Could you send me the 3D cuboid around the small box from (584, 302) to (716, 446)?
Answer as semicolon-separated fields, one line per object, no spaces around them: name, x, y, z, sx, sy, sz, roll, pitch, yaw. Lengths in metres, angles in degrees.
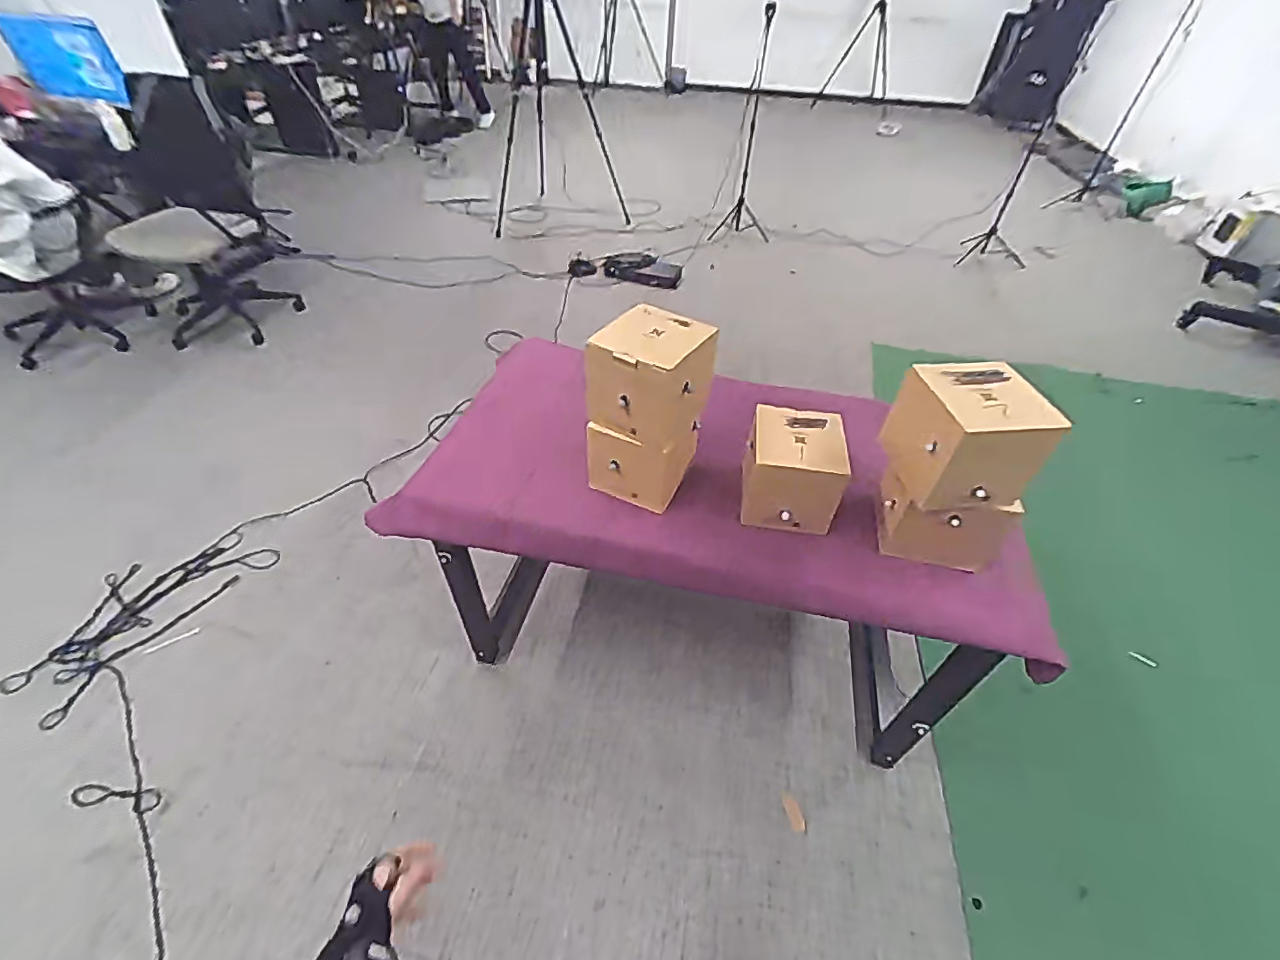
small box;0.019;-0.190;0.974;0.168;0.176;0.179;26;49;22

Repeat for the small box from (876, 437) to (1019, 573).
small box;0.547;0.048;0.996;0.179;0.176;0.168;12;44;9

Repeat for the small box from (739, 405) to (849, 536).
small box;0.289;-0.018;1.049;0.168;0.176;0.179;8;45;5

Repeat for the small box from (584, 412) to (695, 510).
small box;0.004;-0.069;1.084;0.168;0.176;0.179;21;46;17
